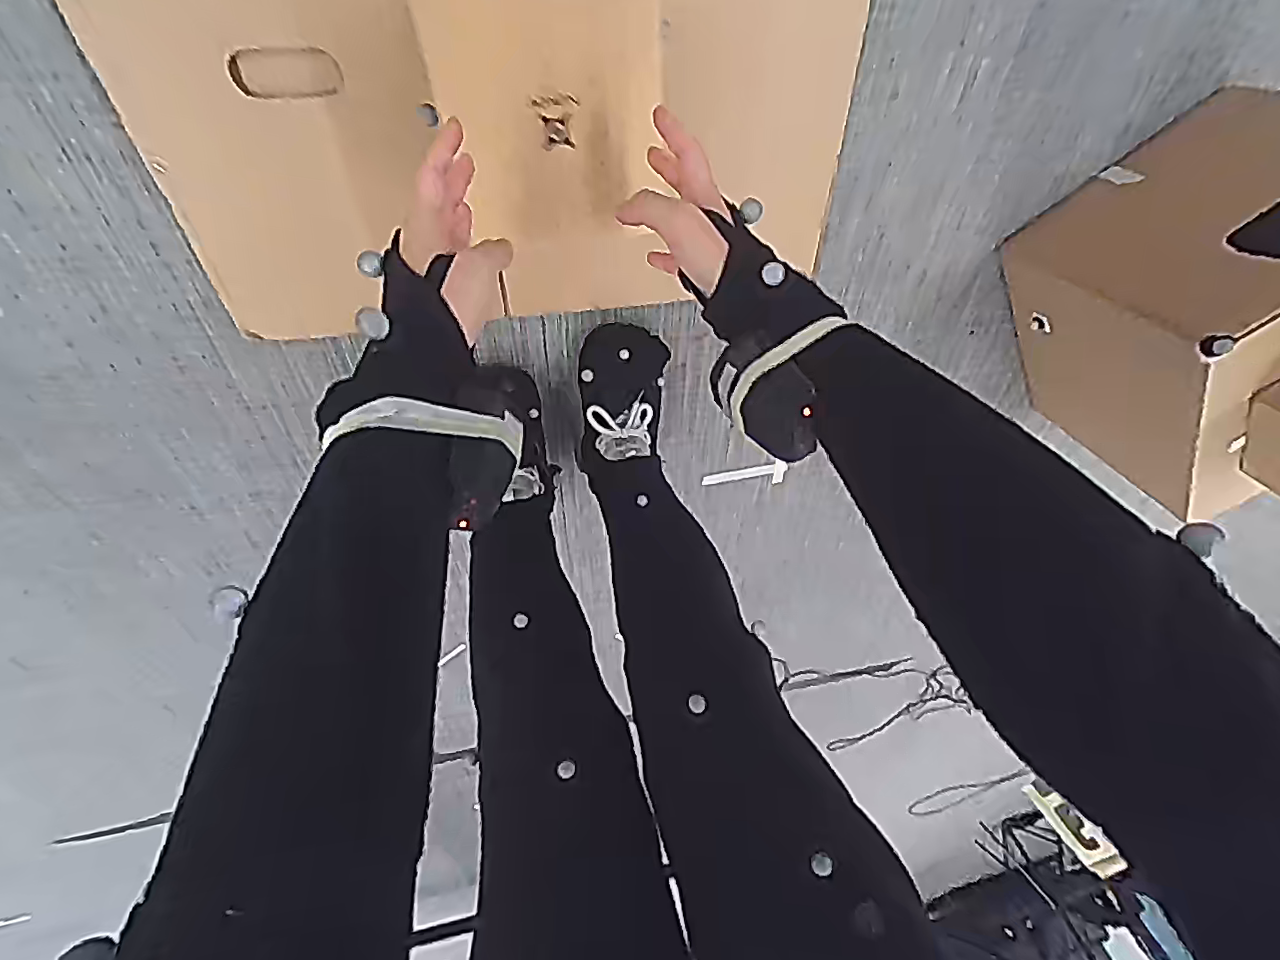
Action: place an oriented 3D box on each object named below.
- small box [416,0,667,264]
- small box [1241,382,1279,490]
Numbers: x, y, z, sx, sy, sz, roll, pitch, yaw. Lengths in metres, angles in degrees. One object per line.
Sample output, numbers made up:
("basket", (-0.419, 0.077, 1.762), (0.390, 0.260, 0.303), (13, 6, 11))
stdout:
("small box", (-0.078, -0.313, 0.463), (0.168, 0.176, 0.179), (-12, 135, -9))
("small box", (0.812, -0.047, 0.574), (0.168, 0.176, 0.179), (-37, 132, 18))
